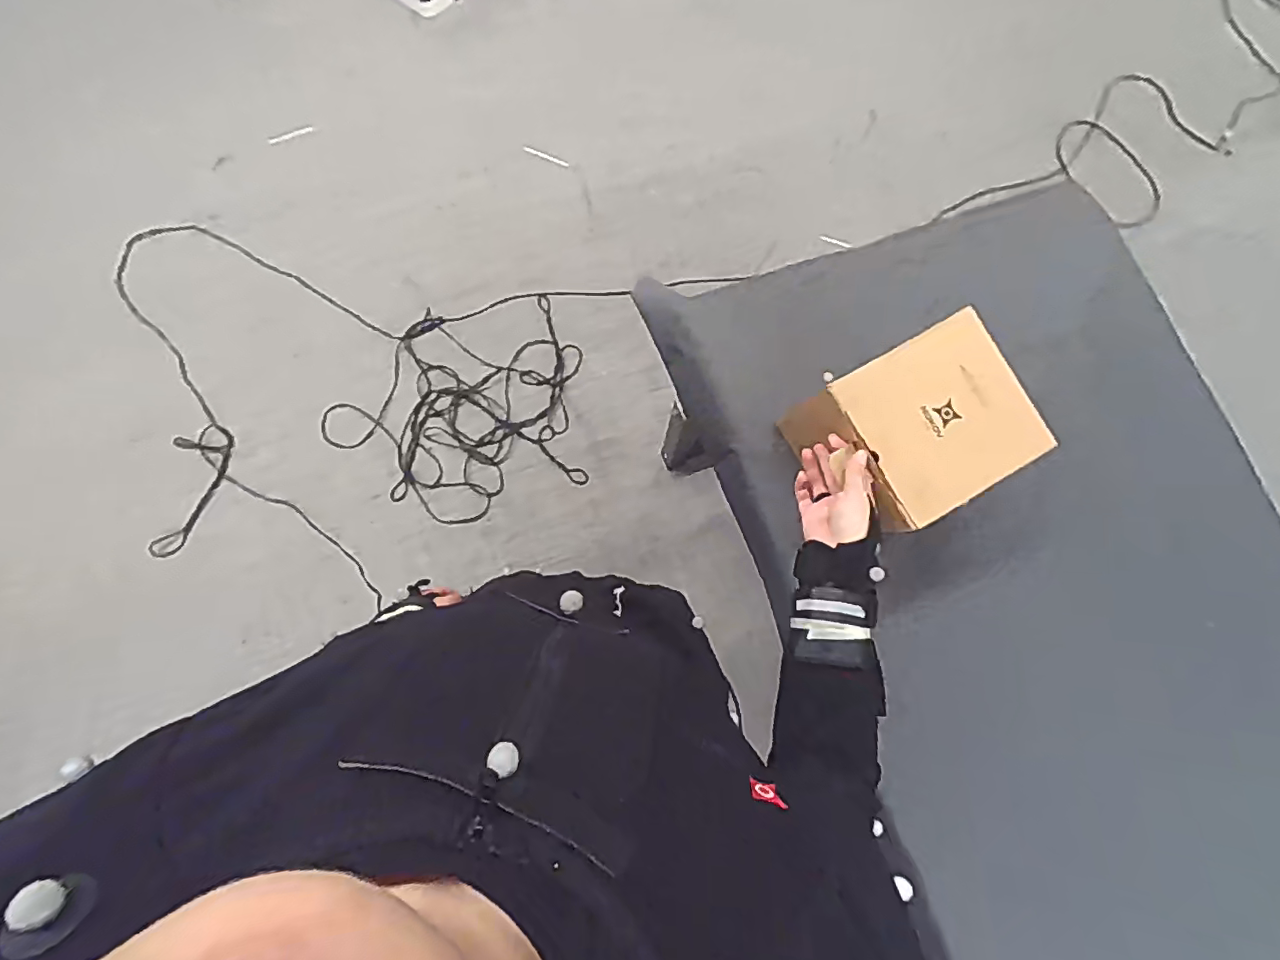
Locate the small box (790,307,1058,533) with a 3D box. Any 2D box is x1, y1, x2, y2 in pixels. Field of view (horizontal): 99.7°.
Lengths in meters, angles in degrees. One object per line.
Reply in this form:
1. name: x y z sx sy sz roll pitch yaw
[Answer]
1. small box: 0.290 -0.053 0.602 0.179 0.176 0.168 -31 89 -7
